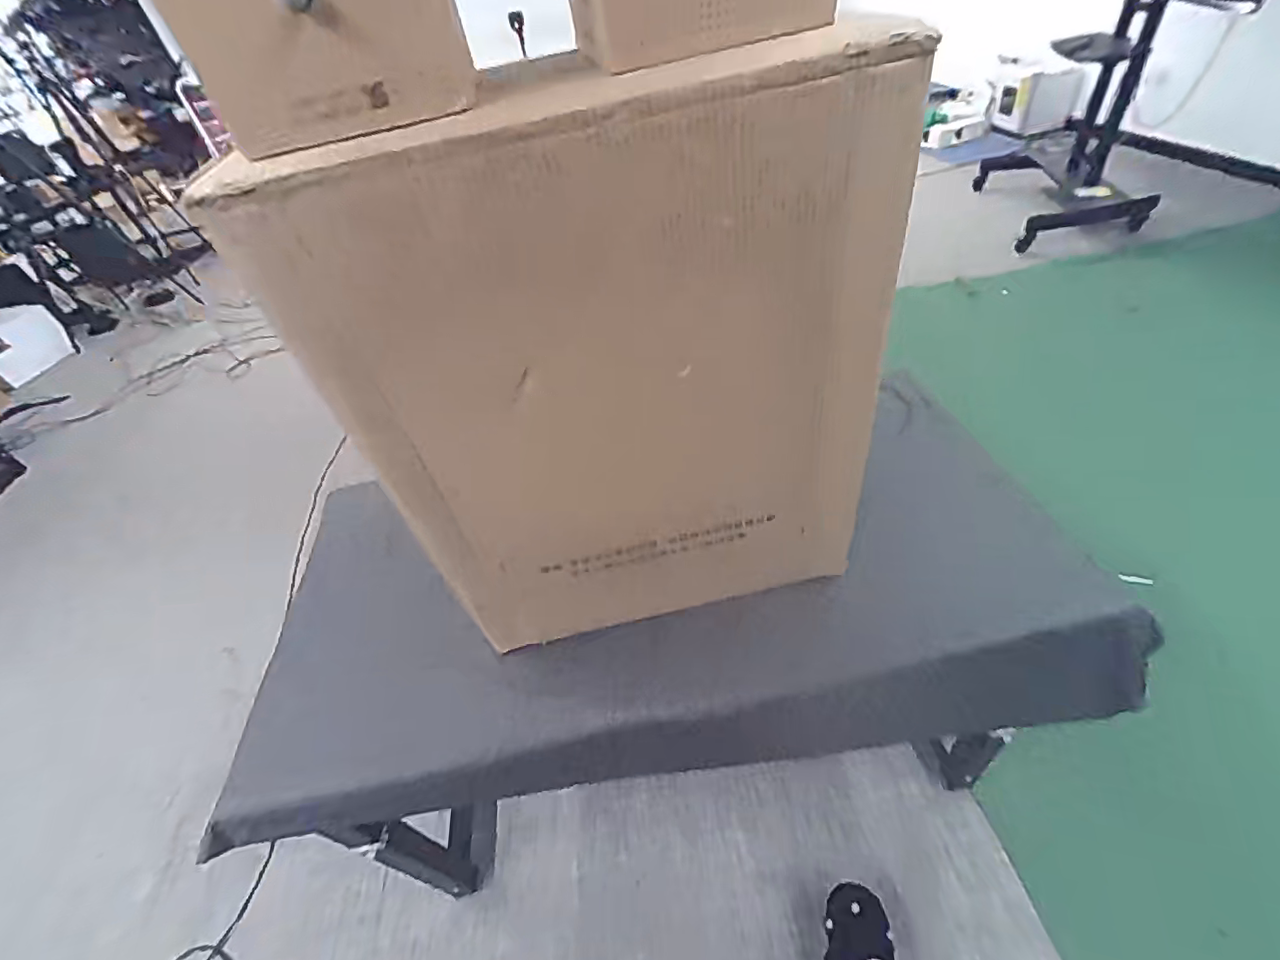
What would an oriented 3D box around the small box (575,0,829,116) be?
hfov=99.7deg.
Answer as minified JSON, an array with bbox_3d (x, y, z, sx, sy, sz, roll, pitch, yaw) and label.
[{"bbox_3d":[0.038,-0.407,0.415,0.179,0.176,0.168,-15,45,-3],"label":"small box"}]

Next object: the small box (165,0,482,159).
[{"bbox_3d":[-0.221,-0.354,0.391,0.168,0.176,0.179,-14,46,-3],"label":"small box"}]
